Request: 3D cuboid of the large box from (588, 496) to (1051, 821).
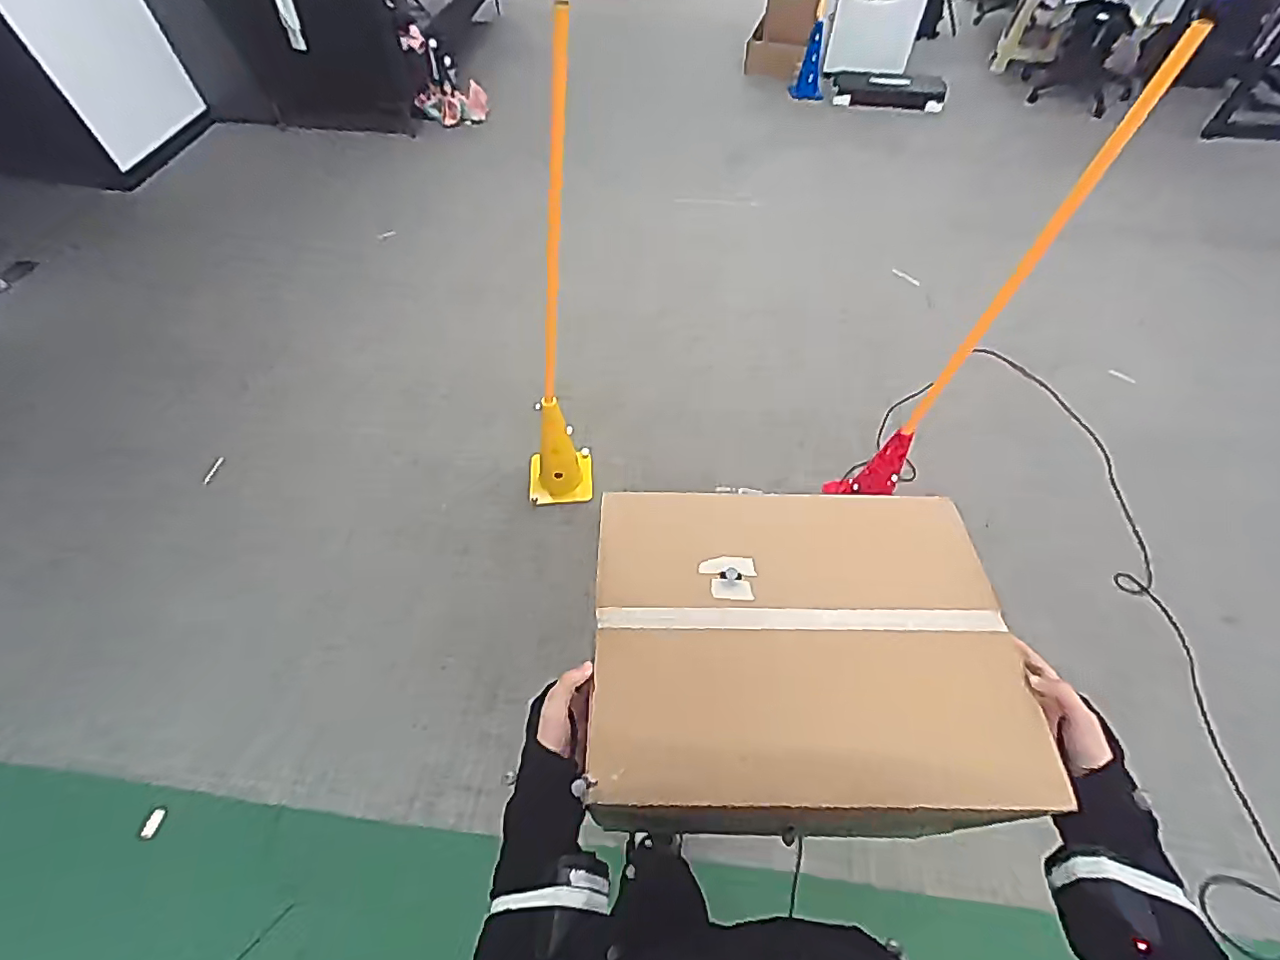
[{"bbox_3d":[0.156,0.231,0.665,0.408,0.320,0.320,0,53,1],"label":"large box"}]
